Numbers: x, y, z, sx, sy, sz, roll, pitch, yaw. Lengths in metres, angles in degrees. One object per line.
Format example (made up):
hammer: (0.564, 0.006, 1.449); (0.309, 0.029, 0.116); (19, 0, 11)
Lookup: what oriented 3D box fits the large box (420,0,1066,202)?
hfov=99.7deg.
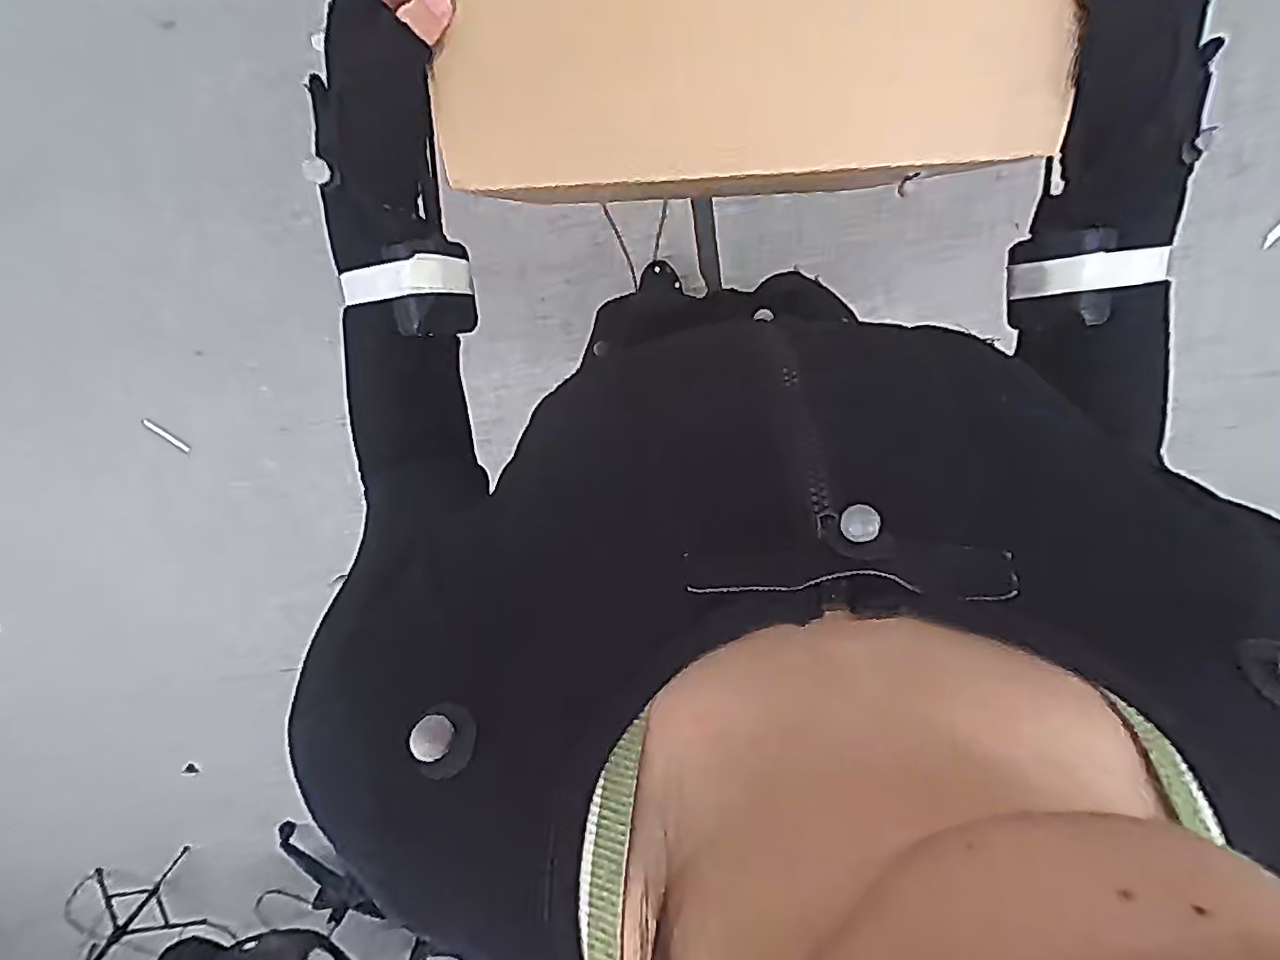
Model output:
large box: (0.062, -0.412, 0.439); (0.408, 0.320, 0.320); (-3, 115, 1)
